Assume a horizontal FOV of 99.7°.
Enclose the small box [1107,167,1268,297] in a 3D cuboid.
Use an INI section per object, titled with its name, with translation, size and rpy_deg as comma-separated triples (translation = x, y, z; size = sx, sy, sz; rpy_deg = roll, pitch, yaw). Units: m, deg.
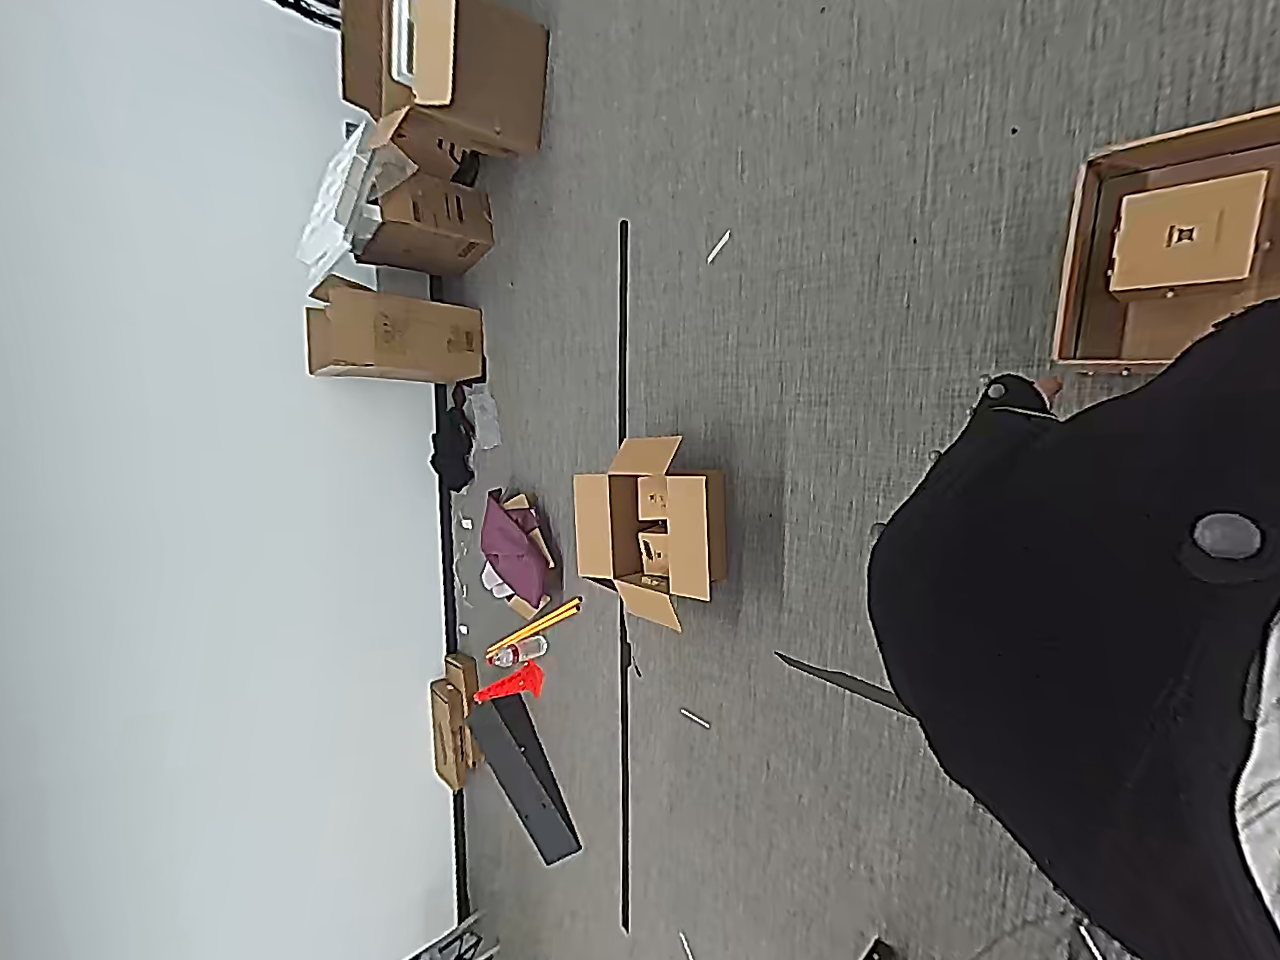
[small box]
translation = 0.976, -0.430, 0.970
size = 0.179, 0.176, 0.168
rpy_deg = 10, 105, 46
